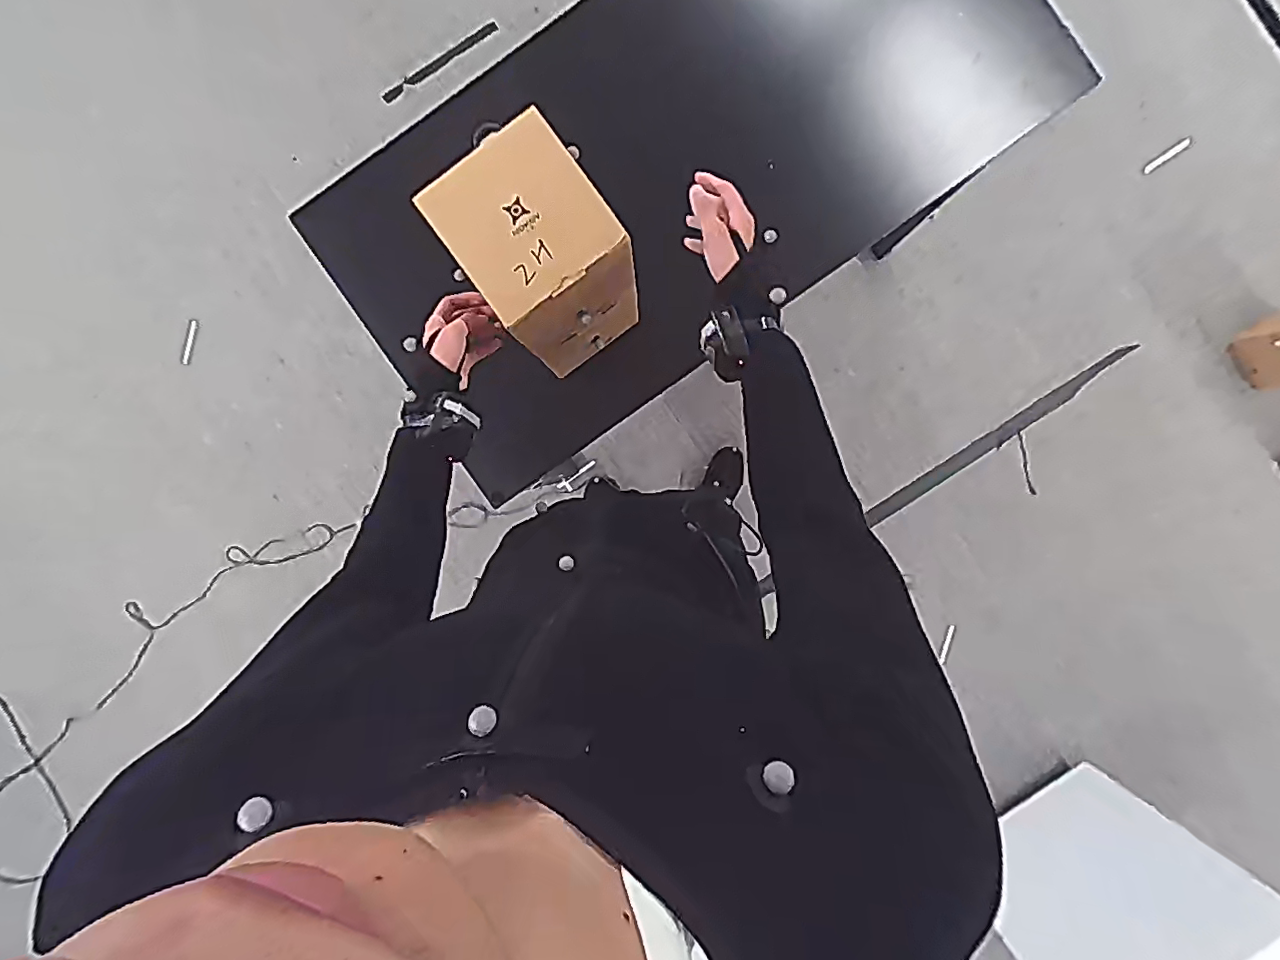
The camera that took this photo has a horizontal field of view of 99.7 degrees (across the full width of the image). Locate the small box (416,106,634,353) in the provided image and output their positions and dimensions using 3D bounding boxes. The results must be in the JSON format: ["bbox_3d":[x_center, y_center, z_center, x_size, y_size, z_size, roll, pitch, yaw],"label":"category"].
[{"bbox_3d":[-0.121,-0.278,0.646,0.168,0.176,0.179,-36,91,3],"label":"small box"}]

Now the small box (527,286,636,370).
[{"bbox_3d":[-0.116,-0.281,0.811,0.168,0.176,0.179,-36,91,2],"label":"small box"}]
